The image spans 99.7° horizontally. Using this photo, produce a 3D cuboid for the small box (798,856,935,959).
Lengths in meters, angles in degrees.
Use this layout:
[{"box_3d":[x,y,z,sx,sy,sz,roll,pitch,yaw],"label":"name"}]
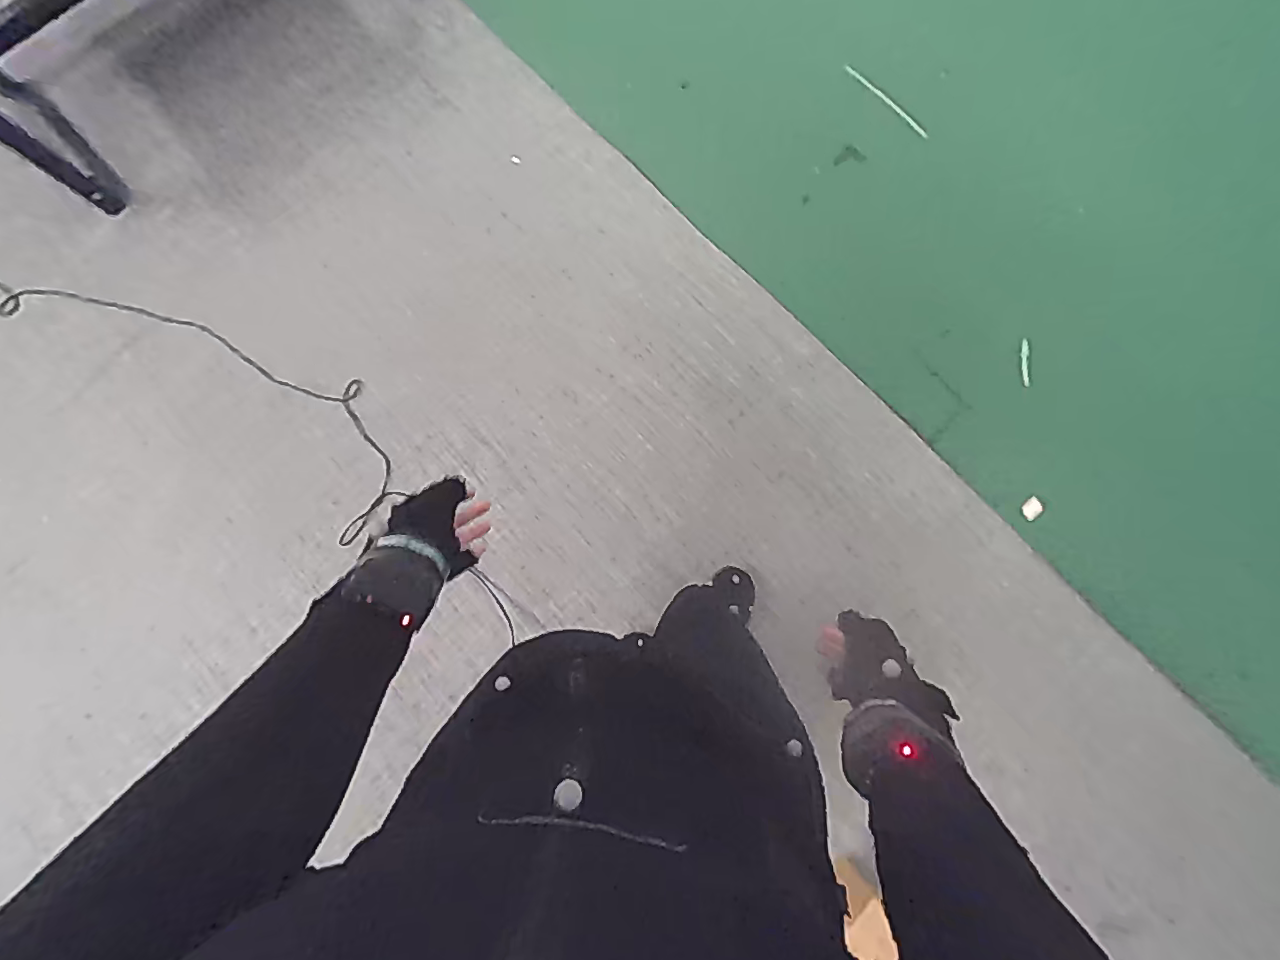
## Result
[{"box_3d":[0.438,0.911,1.075,0.179,0.176,0.168,-43,82,-8],"label":"small box"}]
